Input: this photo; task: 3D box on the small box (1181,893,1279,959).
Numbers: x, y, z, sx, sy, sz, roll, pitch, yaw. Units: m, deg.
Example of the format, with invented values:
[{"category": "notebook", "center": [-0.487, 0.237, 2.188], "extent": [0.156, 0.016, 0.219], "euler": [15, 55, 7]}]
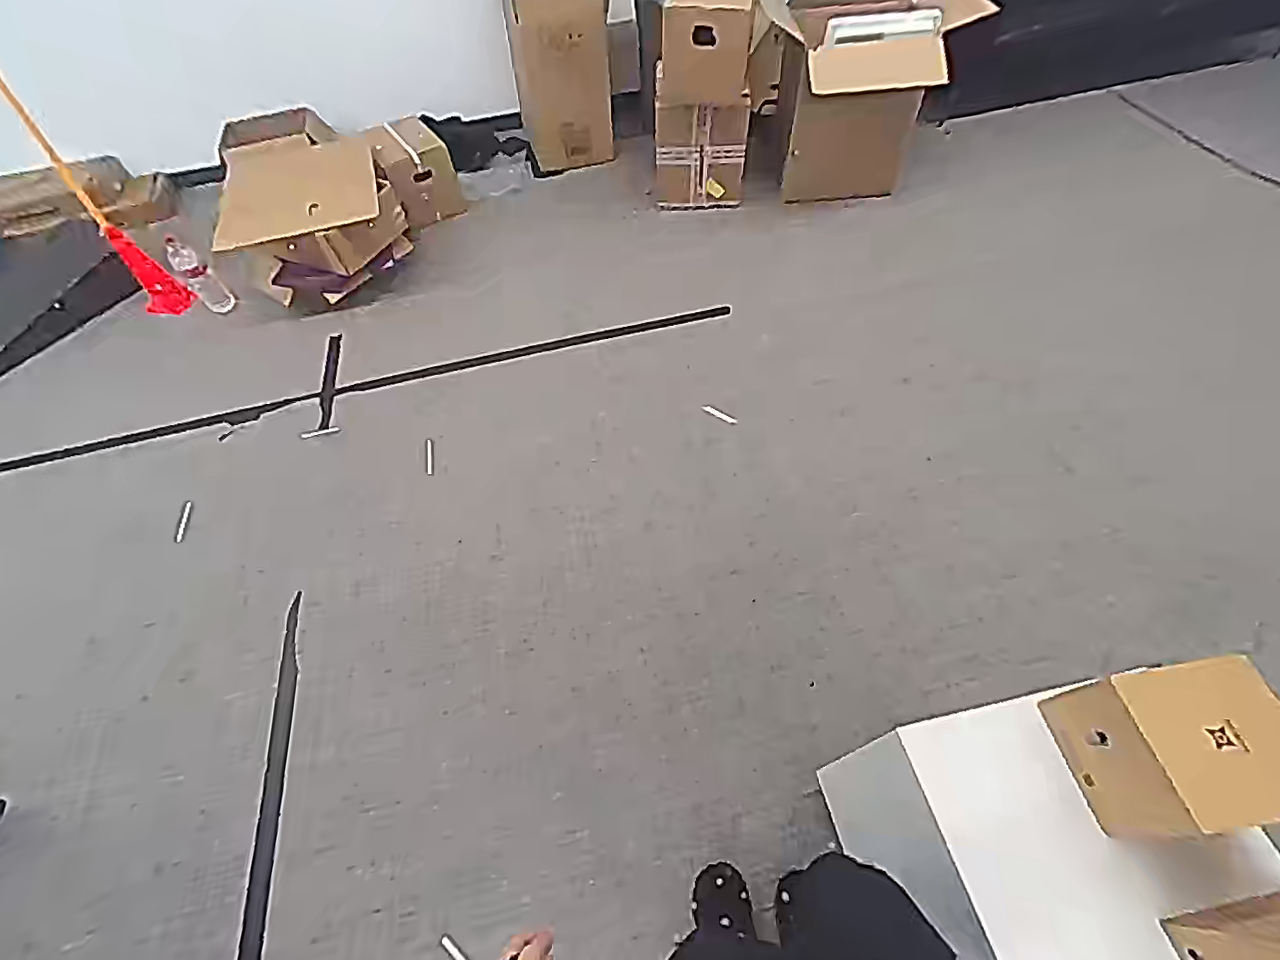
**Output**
[{"category": "small box", "center": [0.715, 0.532, 0.540], "extent": [0.179, 0.176, 0.168], "euler": [-10, 56, -3]}]

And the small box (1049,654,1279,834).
[{"category": "small box", "center": [0.664, 0.335, 0.678], "extent": [0.179, 0.176, 0.168], "euler": [-9, 57, -2]}]
